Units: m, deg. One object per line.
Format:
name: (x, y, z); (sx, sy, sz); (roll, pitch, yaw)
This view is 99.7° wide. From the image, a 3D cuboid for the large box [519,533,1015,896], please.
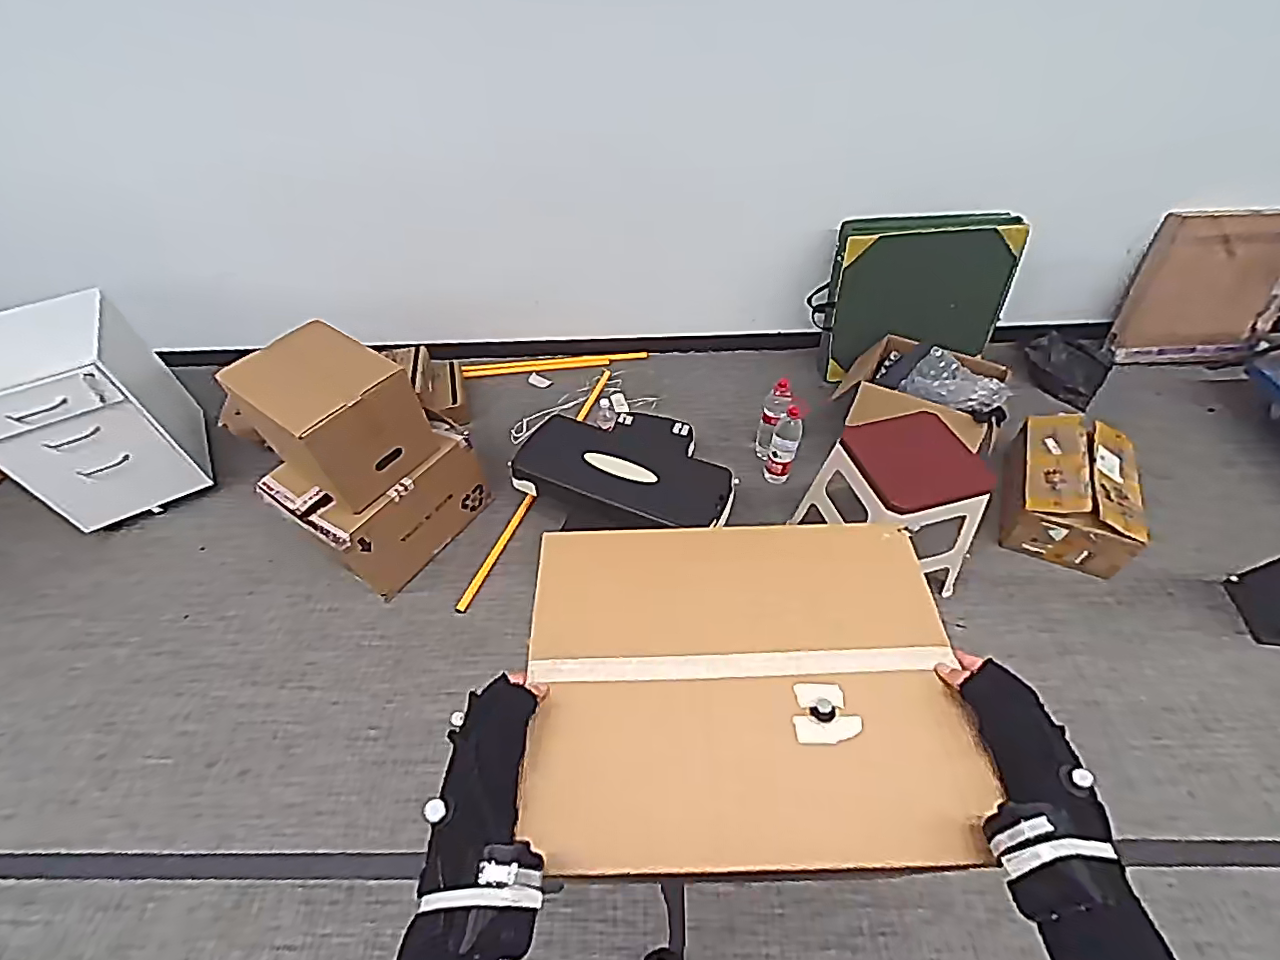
large box: (0.098, 0.280, 0.633); (0.408, 0.320, 0.320); (-2, 52, 0)
